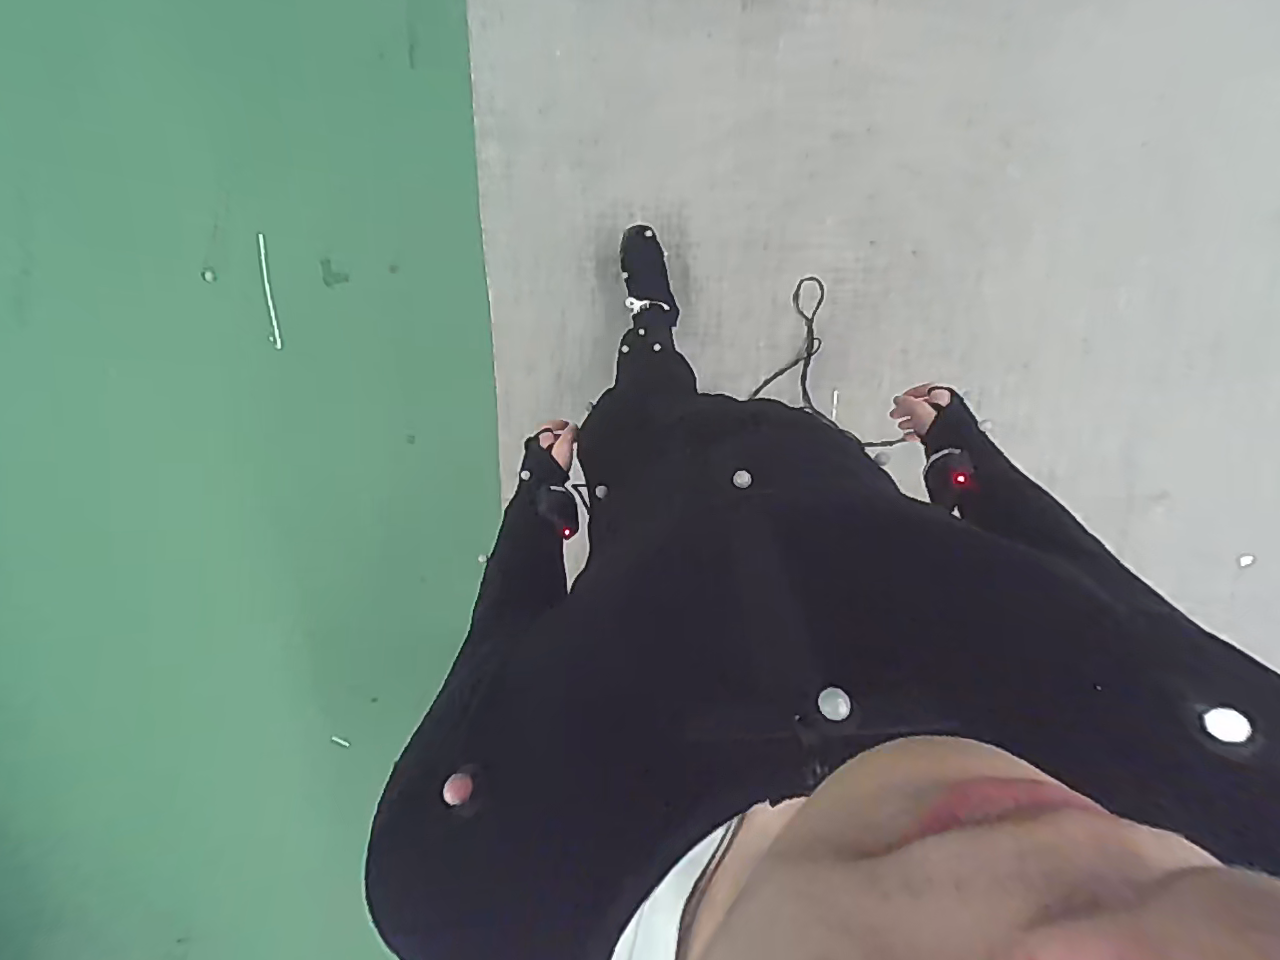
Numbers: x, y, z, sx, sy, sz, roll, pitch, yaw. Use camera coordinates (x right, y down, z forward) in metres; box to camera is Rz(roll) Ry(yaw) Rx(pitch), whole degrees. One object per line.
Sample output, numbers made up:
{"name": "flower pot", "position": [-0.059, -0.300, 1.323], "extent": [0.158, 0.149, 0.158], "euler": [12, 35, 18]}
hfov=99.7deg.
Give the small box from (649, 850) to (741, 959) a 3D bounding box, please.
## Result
{"name": "small box", "position": [0.107, 0.868, 1.053], "extent": [0.168, 0.176, 0.179], "euler": [-1, 107, 5]}
